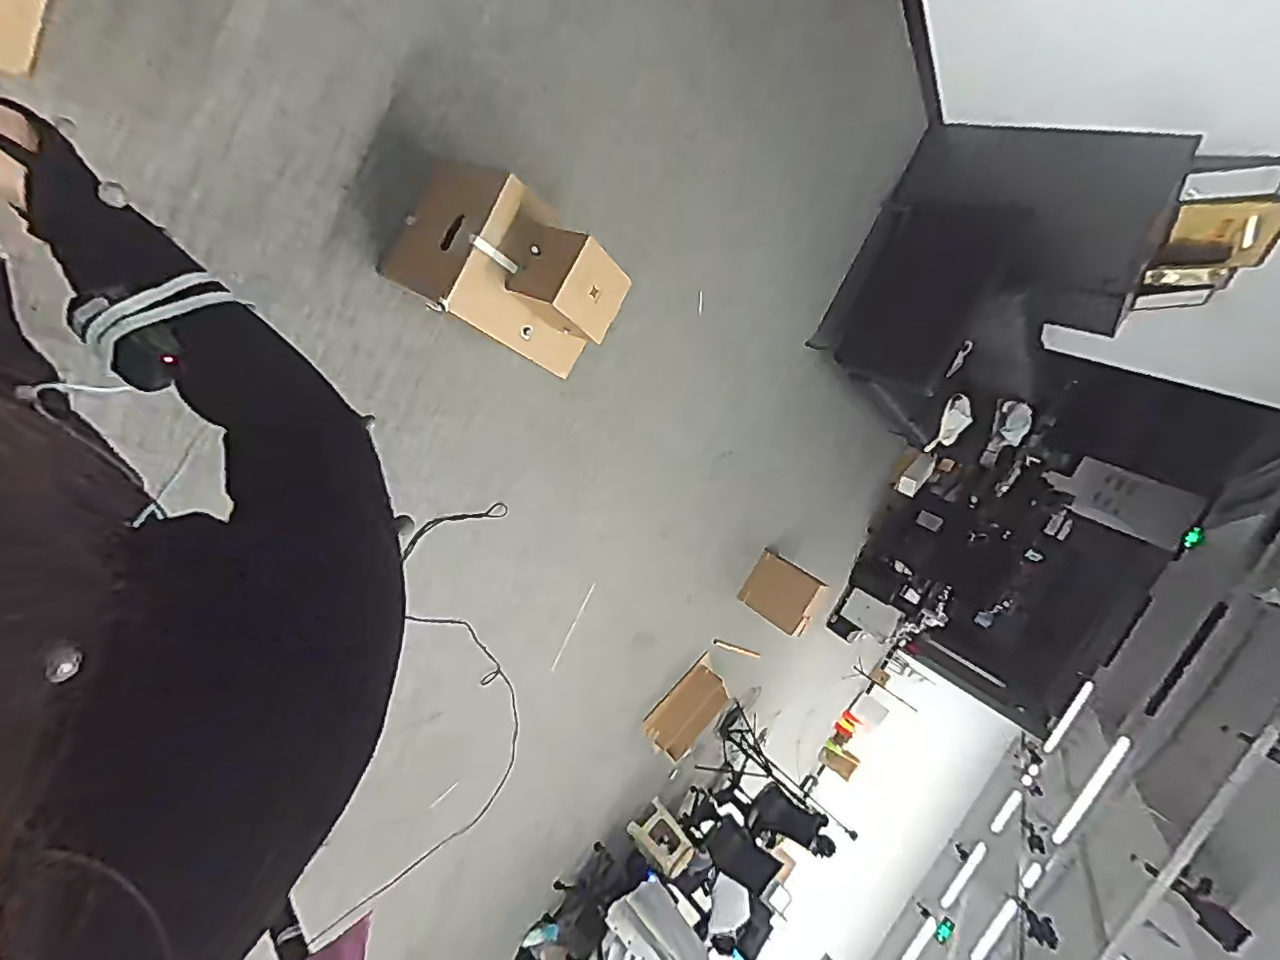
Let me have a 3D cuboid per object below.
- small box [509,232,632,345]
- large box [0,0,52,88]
[{"bbox_3d":[-0.156,-0.434,1.216,0.179,0.176,0.168,29,89,-54],"label":"small box"},{"bbox_3d":[-0.849,-0.732,0.586,0.320,0.320,0.408,14,104,-53],"label":"large box"}]
